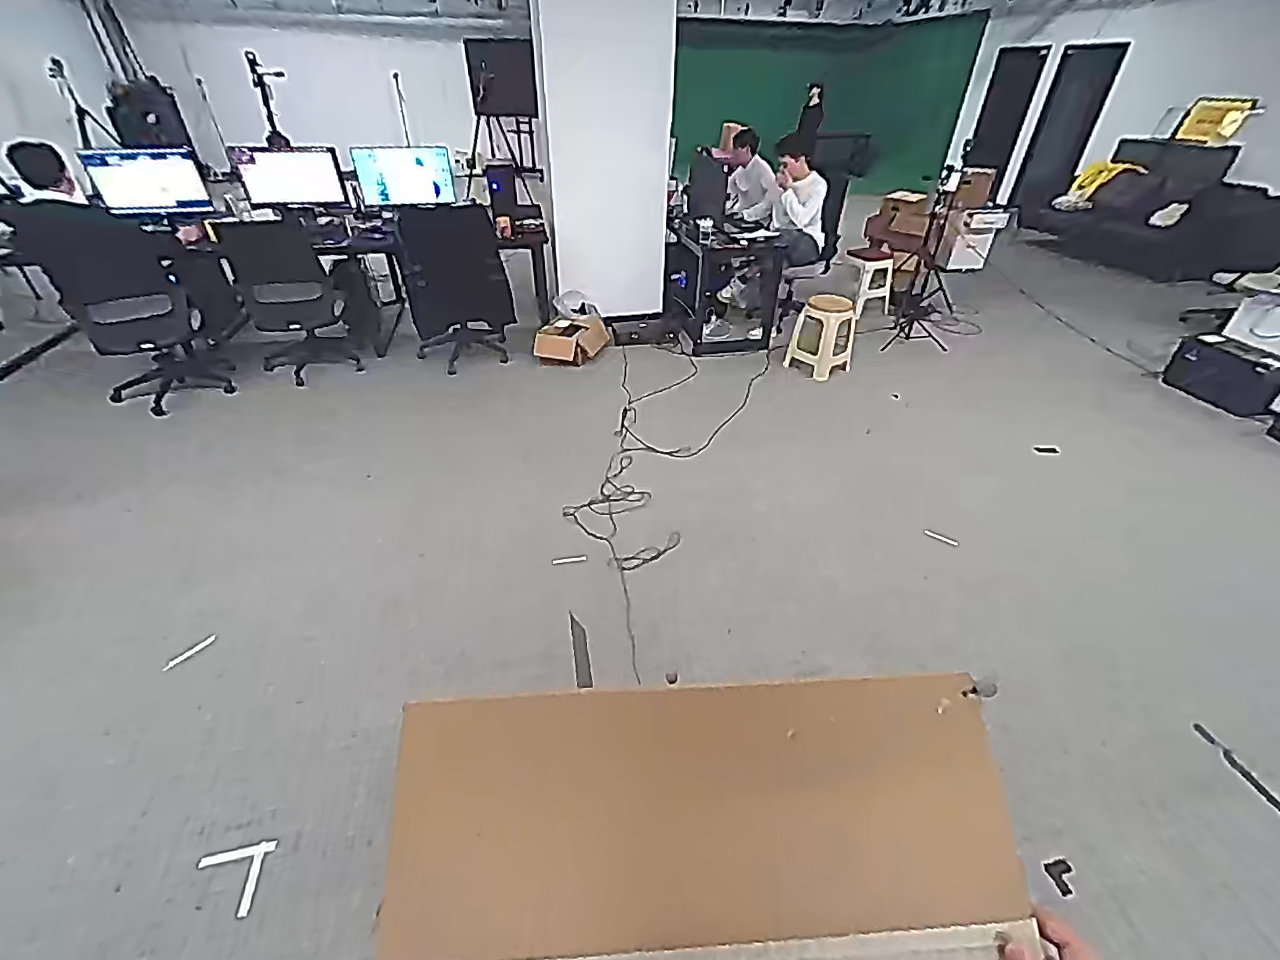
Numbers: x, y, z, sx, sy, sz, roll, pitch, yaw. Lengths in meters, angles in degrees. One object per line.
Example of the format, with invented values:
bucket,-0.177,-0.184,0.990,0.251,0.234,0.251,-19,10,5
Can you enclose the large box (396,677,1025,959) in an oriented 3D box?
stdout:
large box,0.039,0.356,0.476,0.408,0.320,0.320,-2,69,-4
